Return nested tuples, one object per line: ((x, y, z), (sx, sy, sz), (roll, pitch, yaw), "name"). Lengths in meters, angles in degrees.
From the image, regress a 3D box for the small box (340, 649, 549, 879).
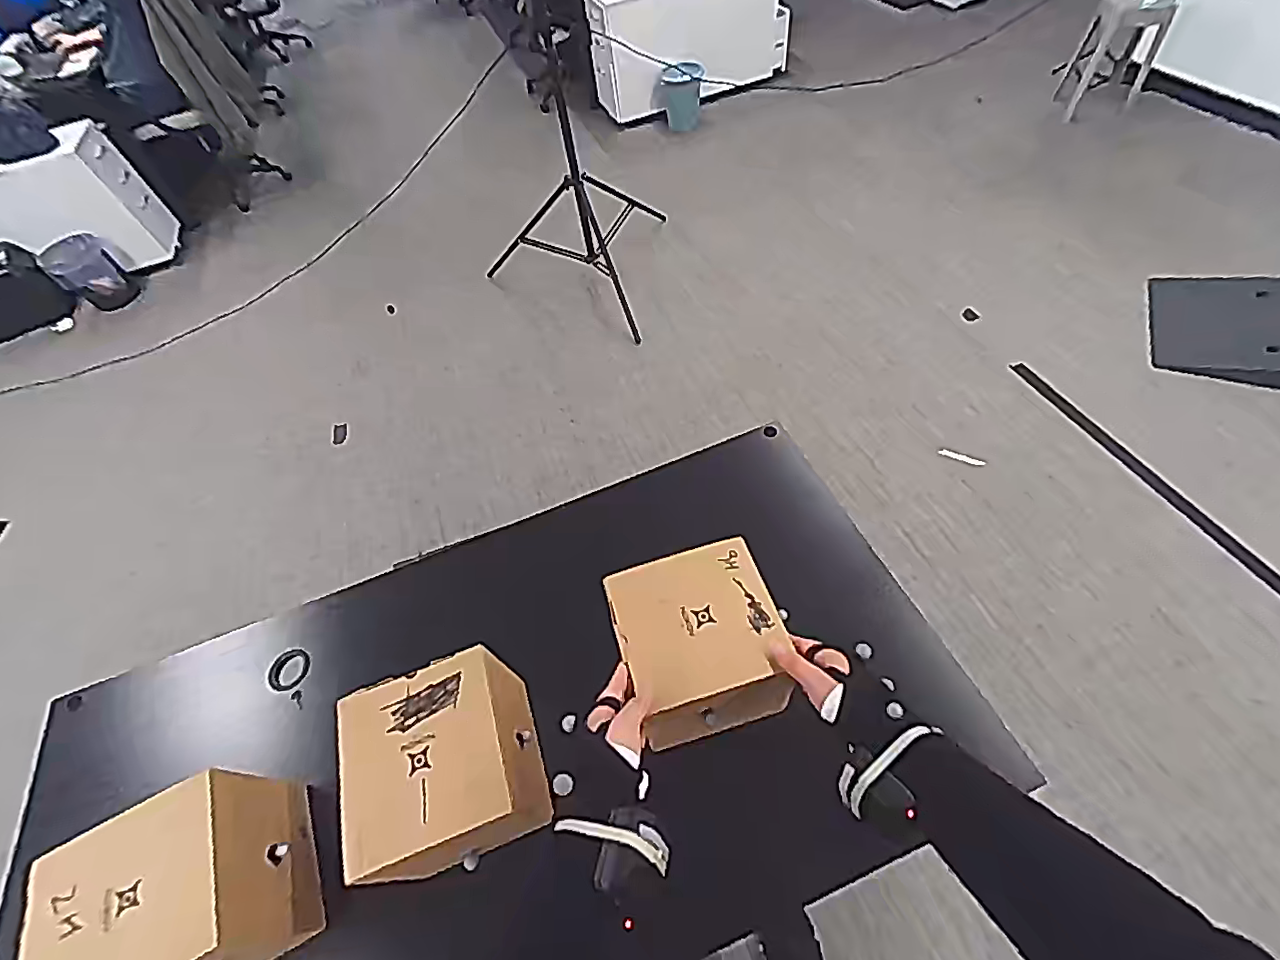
((-0.219, 0.327, 0.625), (0.168, 0.176, 0.179), (-21, 56, -6), "small box")

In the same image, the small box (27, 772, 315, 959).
((-0.480, 0.446, 0.580), (0.179, 0.176, 0.168), (-27, 56, -10), "small box")

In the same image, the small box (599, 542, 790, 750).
((0.064, 0.206, 0.657), (0.179, 0.176, 0.168), (-16, 52, -4), "small box")
